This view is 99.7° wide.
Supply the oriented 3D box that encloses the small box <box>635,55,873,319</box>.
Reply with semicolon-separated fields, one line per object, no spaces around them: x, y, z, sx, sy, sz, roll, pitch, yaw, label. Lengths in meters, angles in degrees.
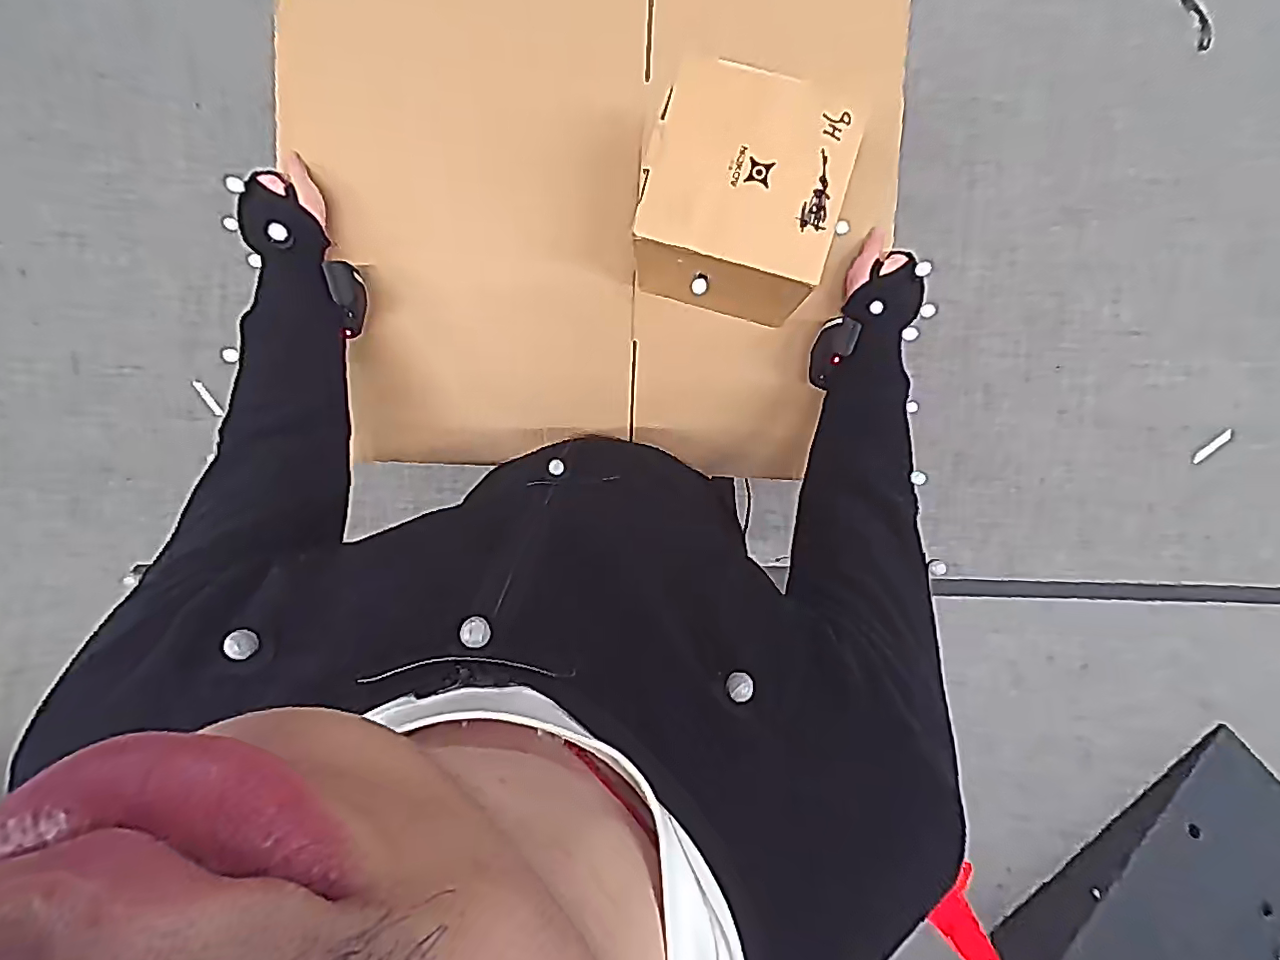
0.105;-0.282;0.561;0.179;0.176;0.168;16;94;2;small box
